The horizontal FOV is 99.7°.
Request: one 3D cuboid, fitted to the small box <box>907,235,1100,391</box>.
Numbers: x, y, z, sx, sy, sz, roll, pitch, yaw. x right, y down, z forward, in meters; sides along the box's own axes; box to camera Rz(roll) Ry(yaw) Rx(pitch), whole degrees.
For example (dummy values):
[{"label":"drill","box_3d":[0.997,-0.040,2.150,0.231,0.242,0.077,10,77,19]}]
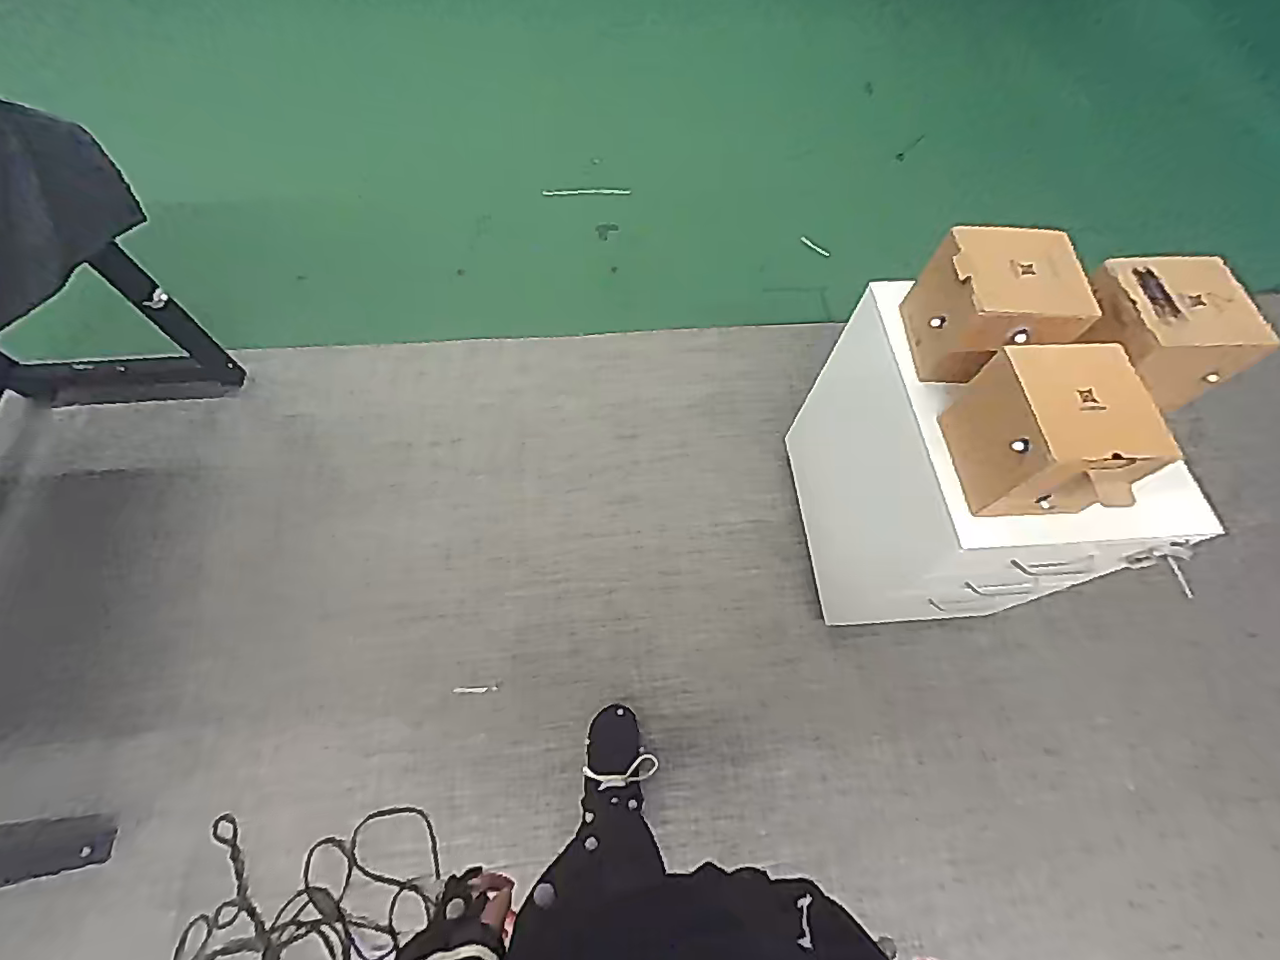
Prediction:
[{"label":"small box","box_3d":[0.544,-0.254,0.845,0.179,0.176,0.168,2,65,-3]}]
